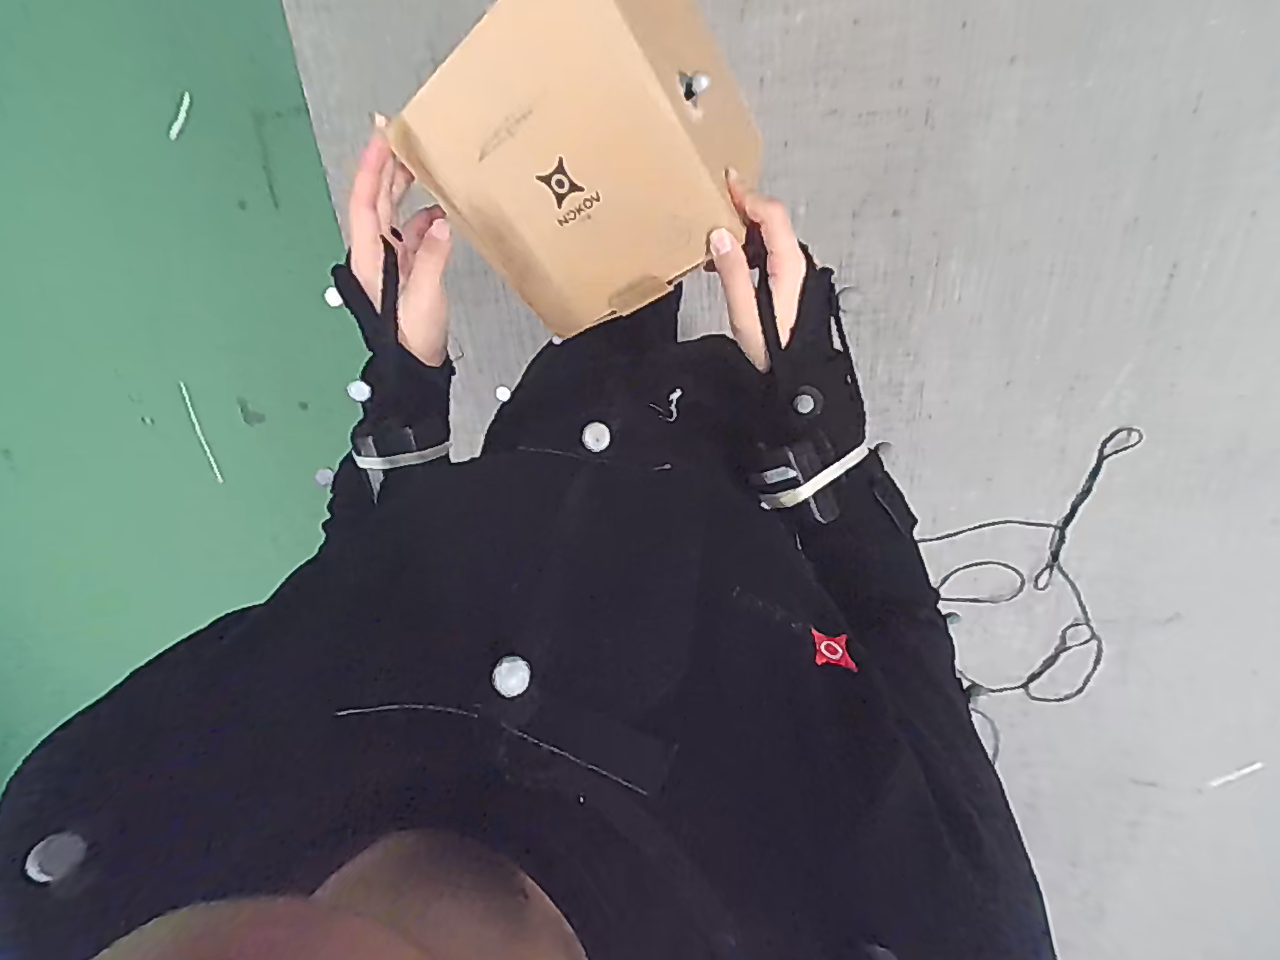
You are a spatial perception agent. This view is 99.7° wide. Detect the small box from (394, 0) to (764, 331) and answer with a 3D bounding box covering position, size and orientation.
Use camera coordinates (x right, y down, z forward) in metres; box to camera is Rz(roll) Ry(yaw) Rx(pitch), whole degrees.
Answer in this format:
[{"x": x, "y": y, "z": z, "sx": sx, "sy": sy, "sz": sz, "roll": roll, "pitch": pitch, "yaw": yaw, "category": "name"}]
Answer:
[{"x": -0.023, "y": -0.248, "z": 0.385, "sx": 0.168, "sy": 0.176, "sz": 0.179, "roll": -17, "pitch": 131, "yaw": 34, "category": "small box"}]
